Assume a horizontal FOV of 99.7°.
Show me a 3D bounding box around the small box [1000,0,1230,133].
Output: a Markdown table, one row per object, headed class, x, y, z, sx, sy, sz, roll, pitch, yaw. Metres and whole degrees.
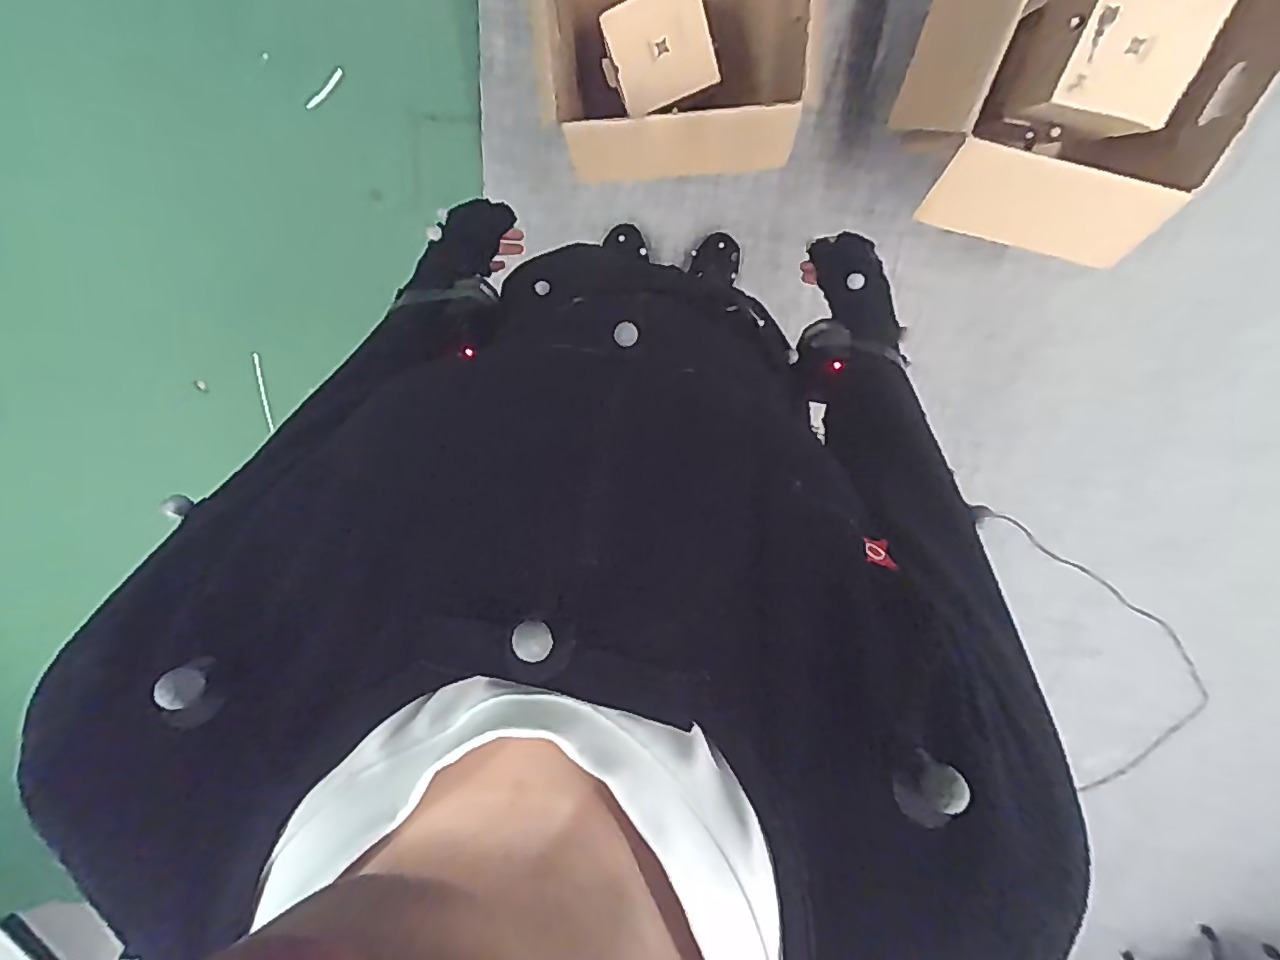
| class | x | y | z | sx | sy | sz | roll | pitch | yaw |
| --- | --- | --- | --- | --- | --- | --- | --- | --- | --- |
| small box | 0.724 | -0.662 | 0.848 | 0.179 | 0.176 | 0.168 | 13 | 118 | -1 |
